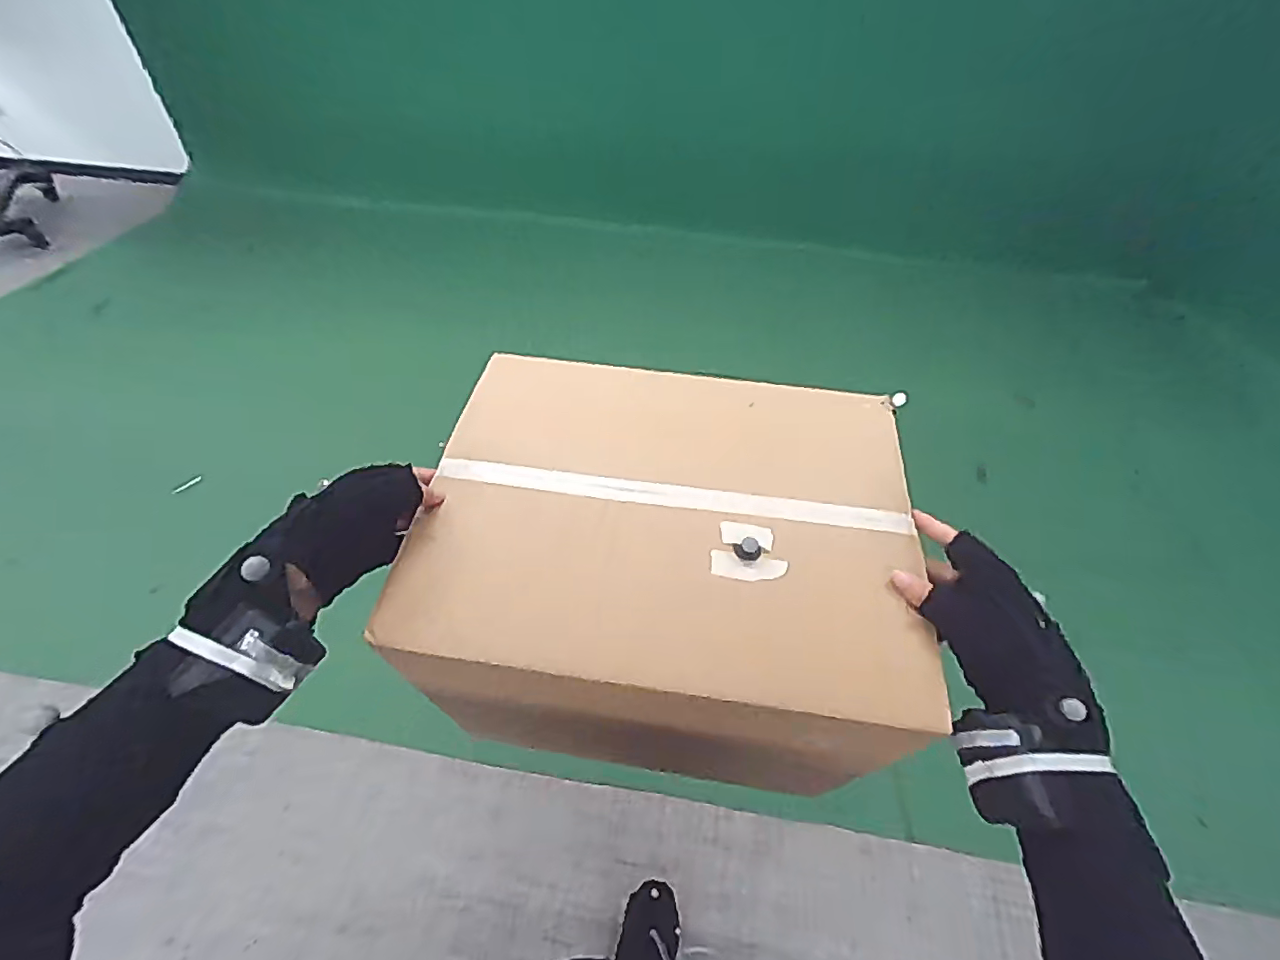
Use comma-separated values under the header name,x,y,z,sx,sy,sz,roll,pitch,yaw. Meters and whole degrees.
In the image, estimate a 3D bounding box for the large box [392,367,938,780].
name,x,y,z,sx,sy,sz,roll,pitch,yaw
large box,0.027,0.108,0.592,0.408,0.320,0.320,7,54,5
